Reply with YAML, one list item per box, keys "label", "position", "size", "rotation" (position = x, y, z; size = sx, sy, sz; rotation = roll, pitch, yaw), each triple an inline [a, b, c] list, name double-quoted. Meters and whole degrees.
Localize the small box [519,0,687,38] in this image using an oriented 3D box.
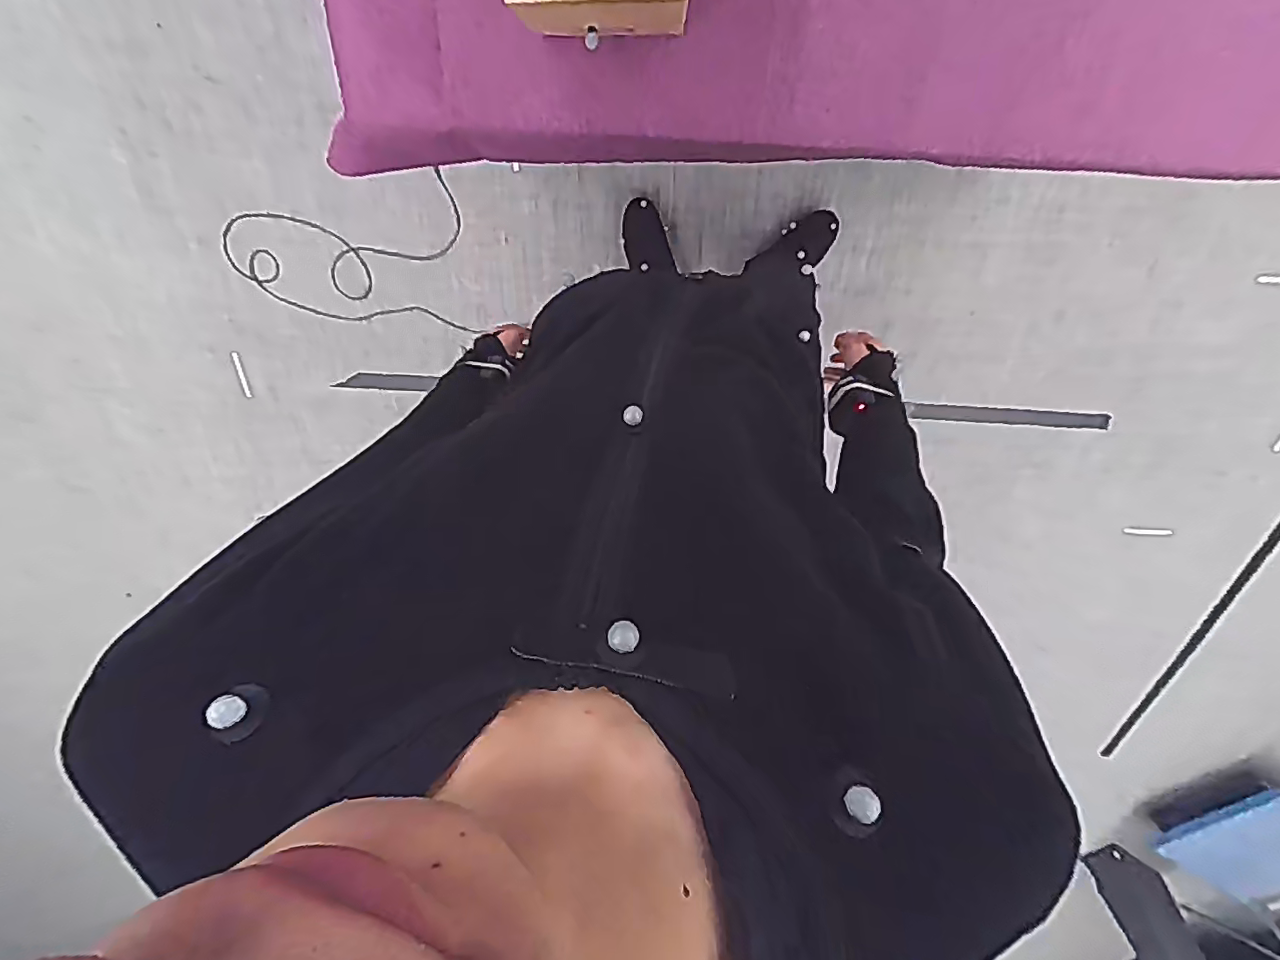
- label: "small box"
  position: [-0.038, -0.532, 0.494]
  size: [0.168, 0.176, 0.179]
  rotation: [1, 121, 2]
